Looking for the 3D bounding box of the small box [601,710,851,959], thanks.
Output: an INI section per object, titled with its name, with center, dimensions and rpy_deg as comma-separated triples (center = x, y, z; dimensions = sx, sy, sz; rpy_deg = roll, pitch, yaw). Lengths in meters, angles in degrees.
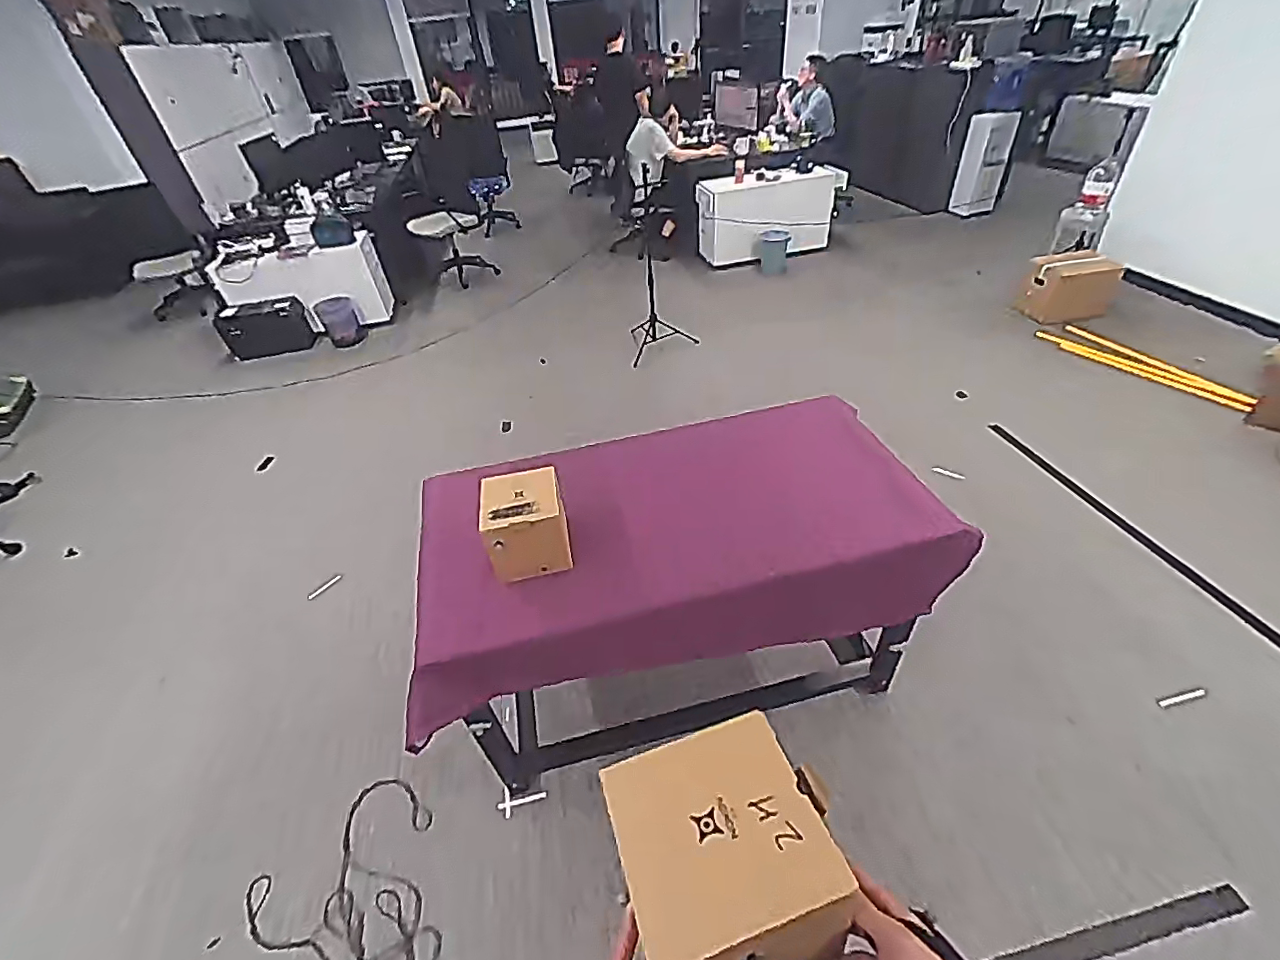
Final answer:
[small box]
center = 0.076, 0.365, 0.520
dimensions = 0.179, 0.176, 0.168
rpy_deg = -15, 34, -10
